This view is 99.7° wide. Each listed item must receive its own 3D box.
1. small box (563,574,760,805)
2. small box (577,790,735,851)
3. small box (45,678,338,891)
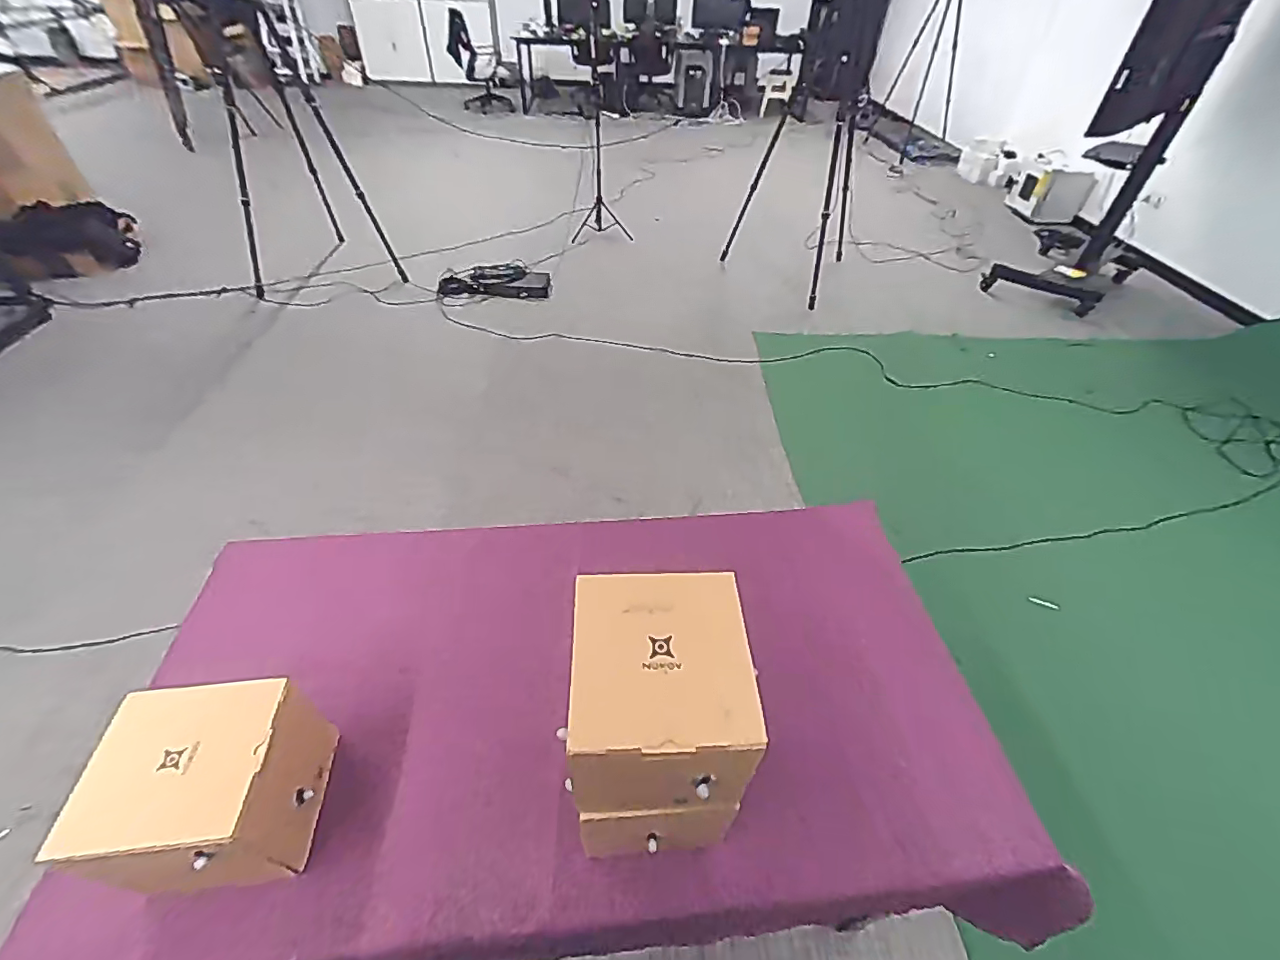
[{"bbox_3d":[0.016,0.216,0.553,0.168,0.176,0.179,0,43,-2],"label":"small box"},{"bbox_3d":[0.012,0.337,0.664,0.168,0.176,0.179,-2,44,-4],"label":"small box"},{"bbox_3d":[-0.490,0.355,0.631,0.179,0.176,0.168,-3,44,-7],"label":"small box"}]
